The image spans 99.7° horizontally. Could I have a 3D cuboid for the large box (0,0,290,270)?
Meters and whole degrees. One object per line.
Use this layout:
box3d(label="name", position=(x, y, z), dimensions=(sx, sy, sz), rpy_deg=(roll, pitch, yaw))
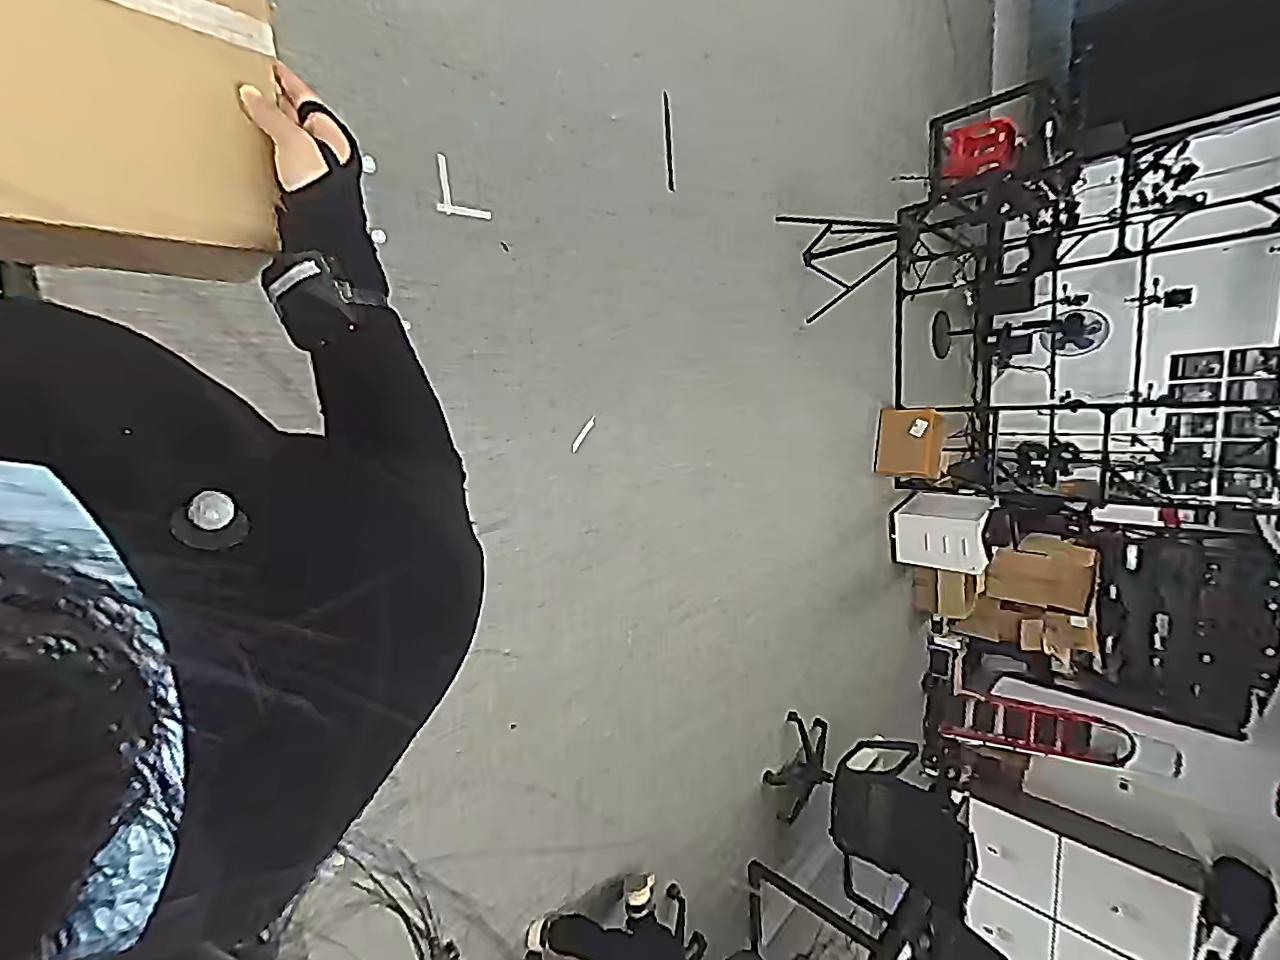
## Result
box3d(label="large box", position=(-0.547, -0.355, 0.420), dimensions=(0.408, 0.320, 0.320), rpy_deg=(-9, 106, -40))
